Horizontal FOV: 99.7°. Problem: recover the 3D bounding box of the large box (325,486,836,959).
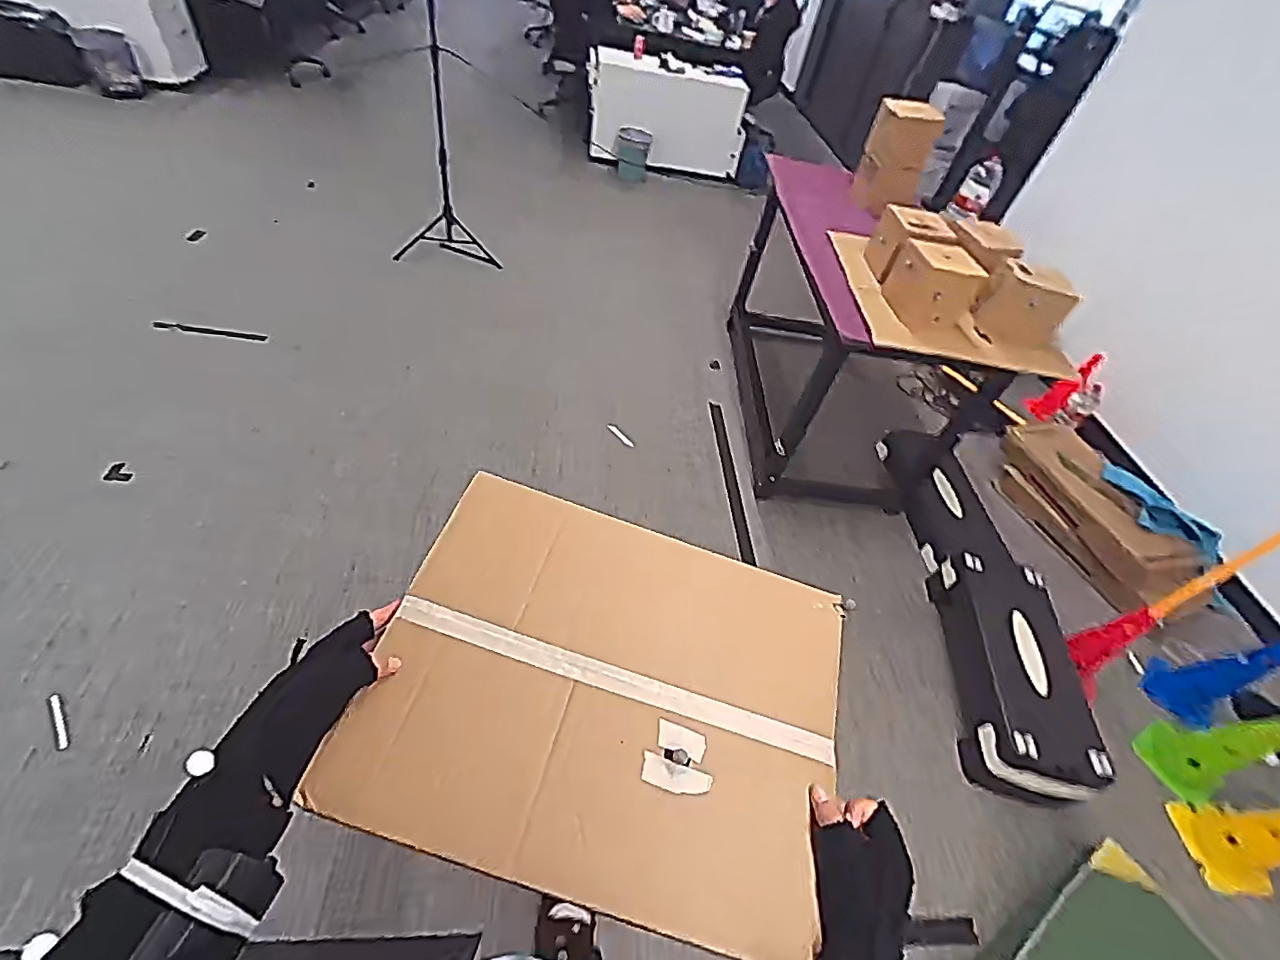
[{"bbox_3d":[-0.045,0.265,0.613,0.408,0.320,0.320,20,55,-1],"label":"large box"}]
